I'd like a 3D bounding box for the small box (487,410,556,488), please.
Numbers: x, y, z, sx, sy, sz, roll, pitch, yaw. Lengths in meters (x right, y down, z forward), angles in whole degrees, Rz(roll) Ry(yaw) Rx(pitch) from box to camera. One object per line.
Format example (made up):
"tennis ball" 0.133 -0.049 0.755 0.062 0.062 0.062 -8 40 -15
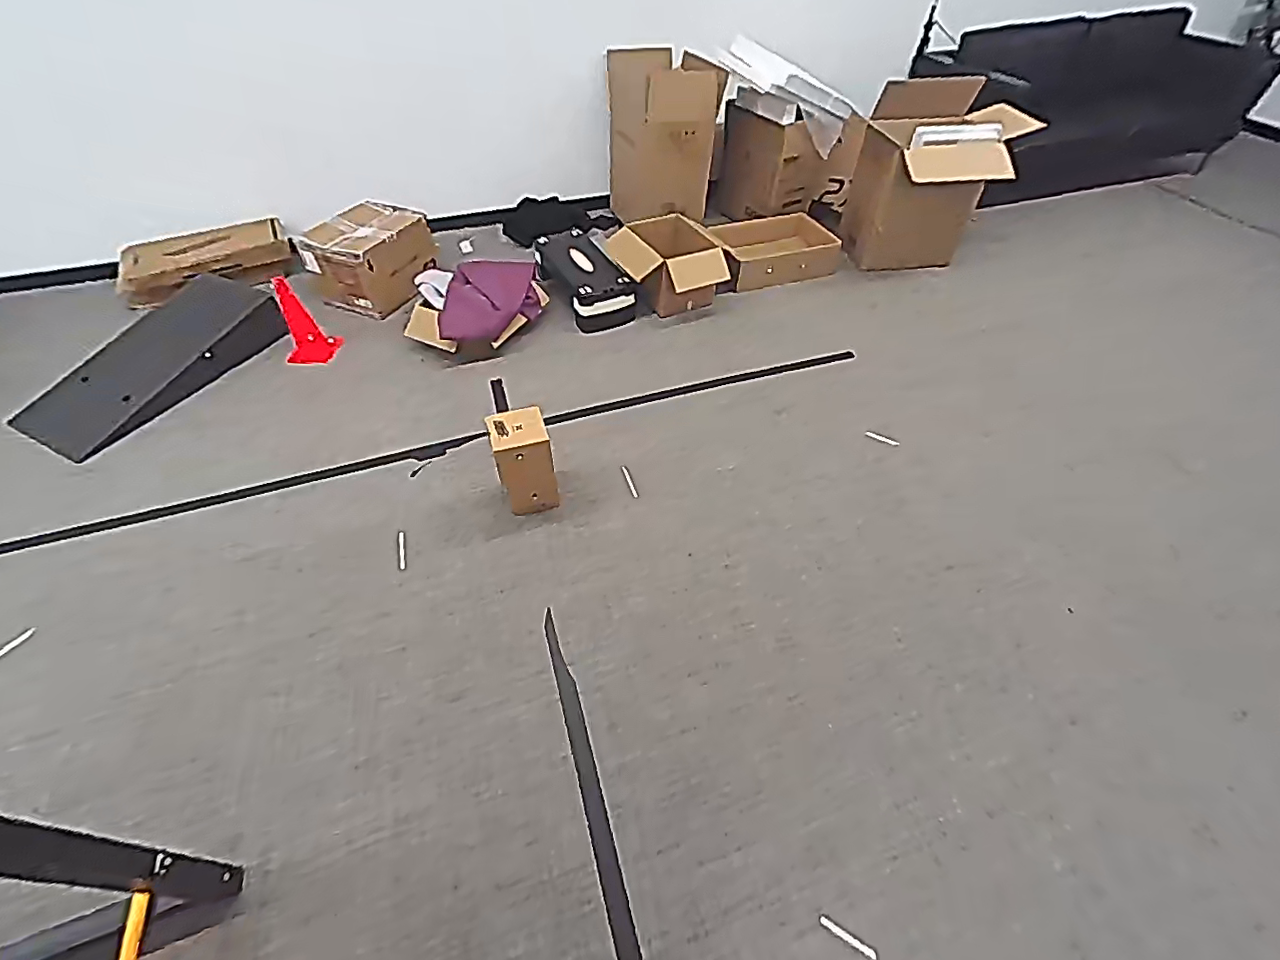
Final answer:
"small box" -0.379 -0.095 1.740 0.179 0.176 0.168 -14 50 -13

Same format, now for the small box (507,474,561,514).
"small box" -0.375 0.001 1.876 0.168 0.176 0.179 -13 51 -12
